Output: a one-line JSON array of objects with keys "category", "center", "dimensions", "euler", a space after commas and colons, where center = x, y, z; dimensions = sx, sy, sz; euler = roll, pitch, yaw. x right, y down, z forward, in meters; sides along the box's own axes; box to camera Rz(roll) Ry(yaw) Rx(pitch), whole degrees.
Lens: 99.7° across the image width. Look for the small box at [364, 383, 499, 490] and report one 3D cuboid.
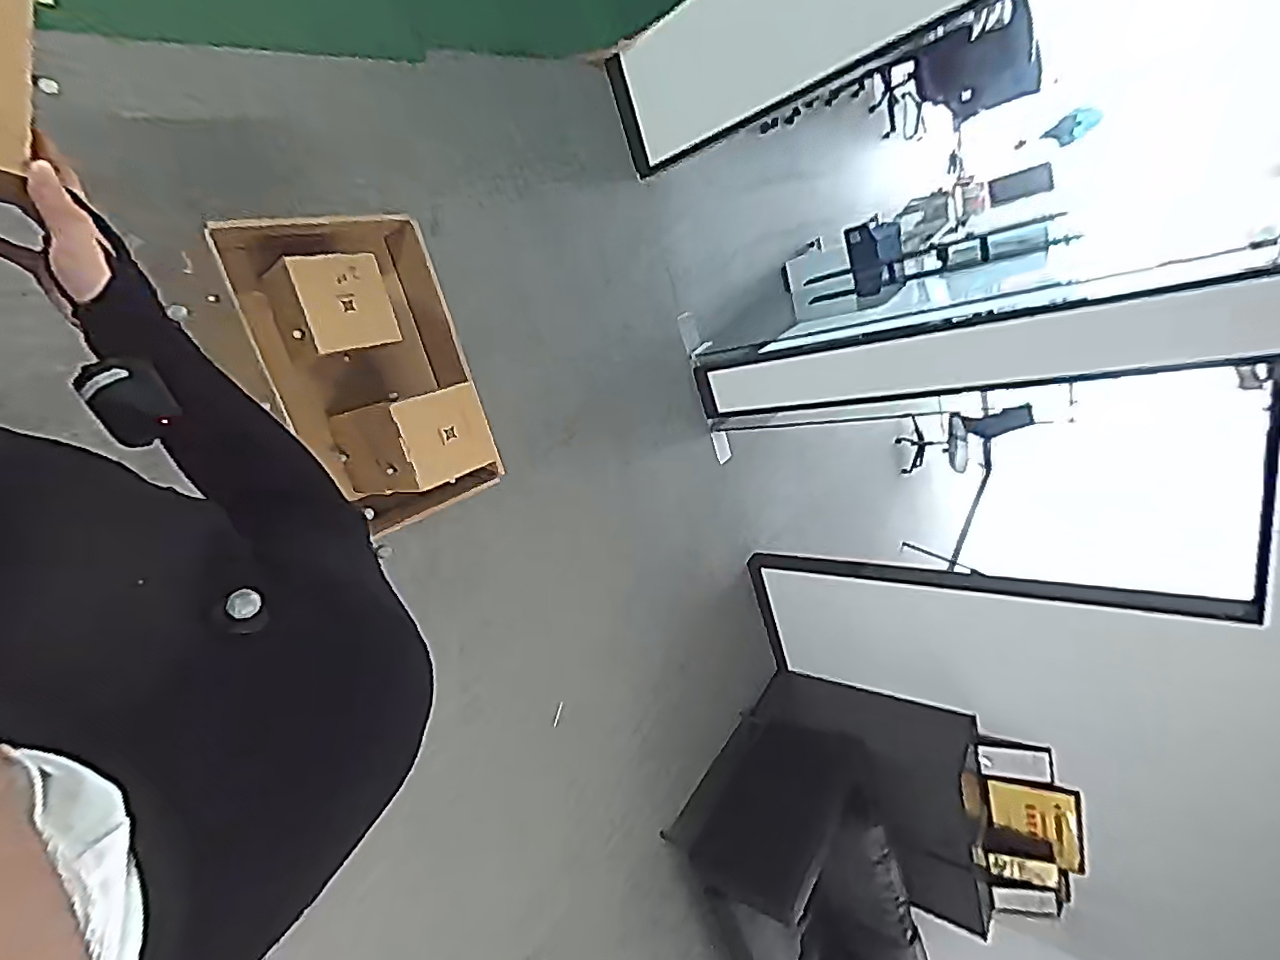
[{"category": "small box", "center": [-0.417, -0.085, 1.068], "dimensions": [0.179, 0.176, 0.168], "euler": [-30, 113, -44]}]
